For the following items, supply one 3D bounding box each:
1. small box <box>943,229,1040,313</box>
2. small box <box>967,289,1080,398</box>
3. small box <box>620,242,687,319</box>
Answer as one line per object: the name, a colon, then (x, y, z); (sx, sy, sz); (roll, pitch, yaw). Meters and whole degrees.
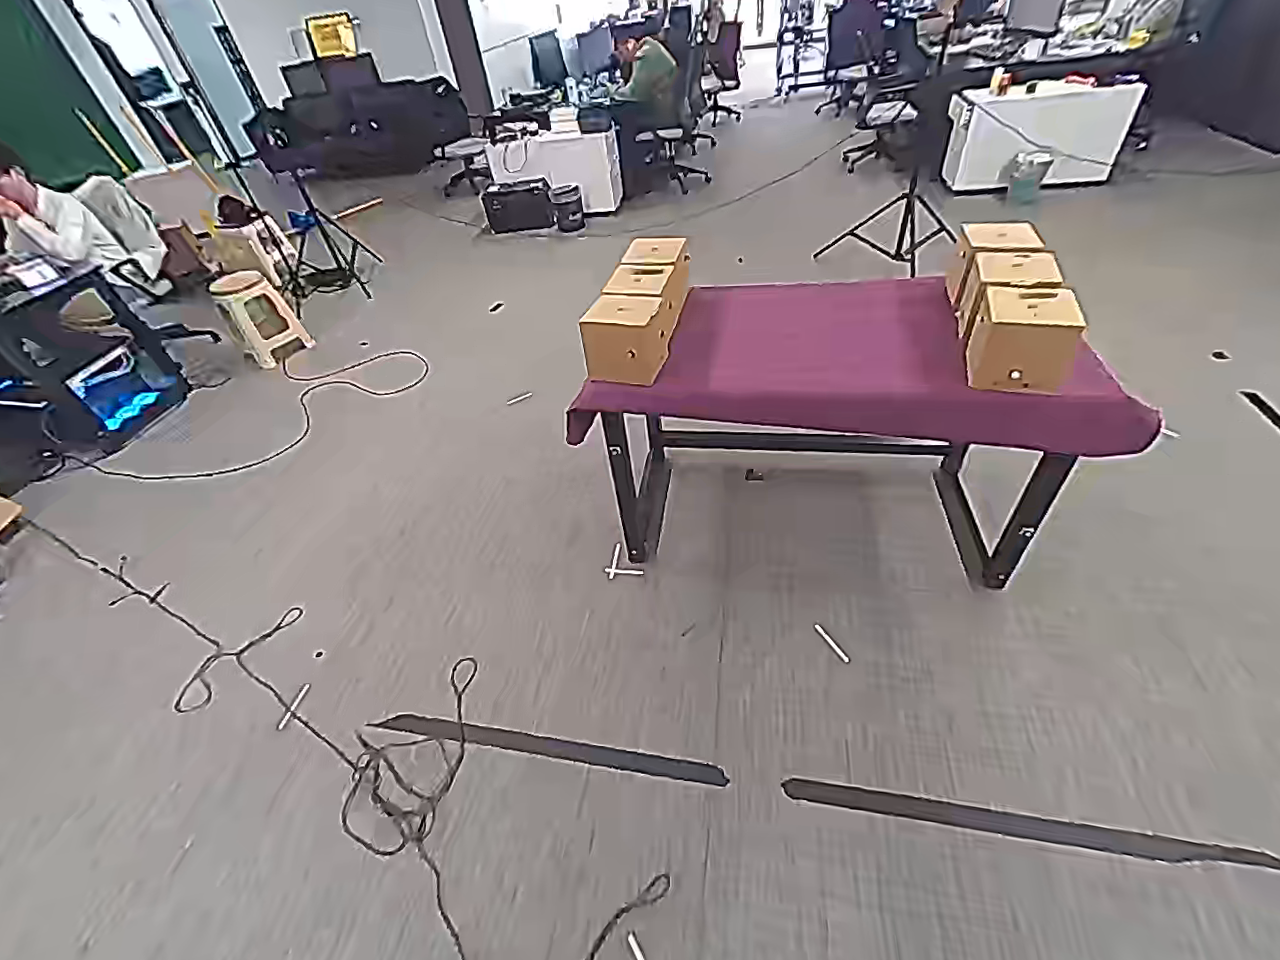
small box: (0.946, -0.570, 1.475); (0.168, 0.176, 0.179); (6, 44, 14)
small box: (0.846, -0.307, 1.210); (0.168, 0.176, 0.179); (10, 49, 23)
small box: (0.048, -0.616, 1.662); (0.168, 0.176, 0.179); (6, 46, 15)
